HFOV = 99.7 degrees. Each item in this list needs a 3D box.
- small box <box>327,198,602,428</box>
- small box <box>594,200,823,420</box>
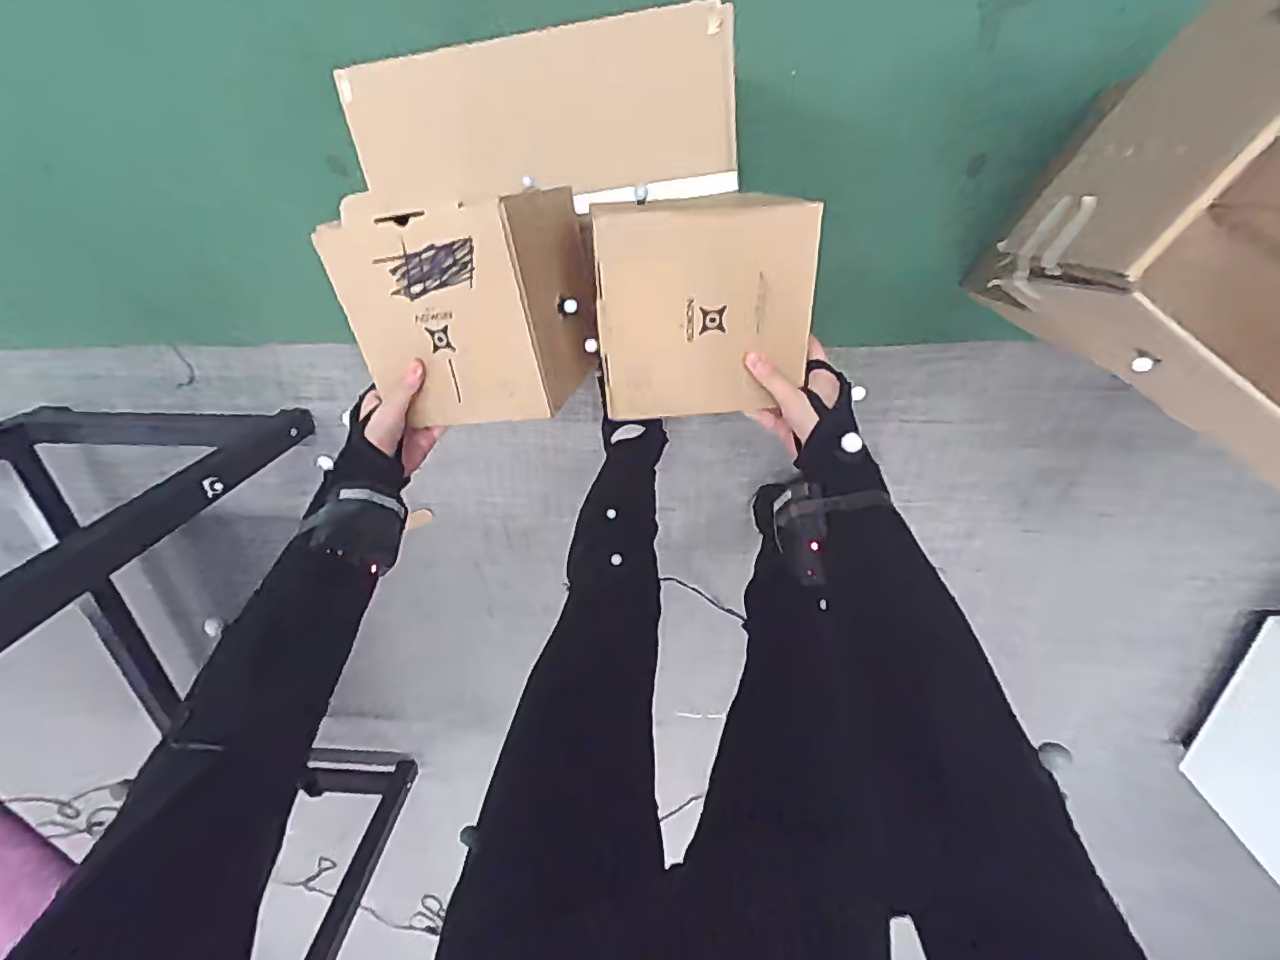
[{"bbox_3d":[-0.147,-0.166,0.521,0.168,0.176,0.179,-1,120,15],"label":"small box"},{"bbox_3d":[0.049,-0.169,0.513,0.179,0.176,0.168,-5,120,-4],"label":"small box"}]
